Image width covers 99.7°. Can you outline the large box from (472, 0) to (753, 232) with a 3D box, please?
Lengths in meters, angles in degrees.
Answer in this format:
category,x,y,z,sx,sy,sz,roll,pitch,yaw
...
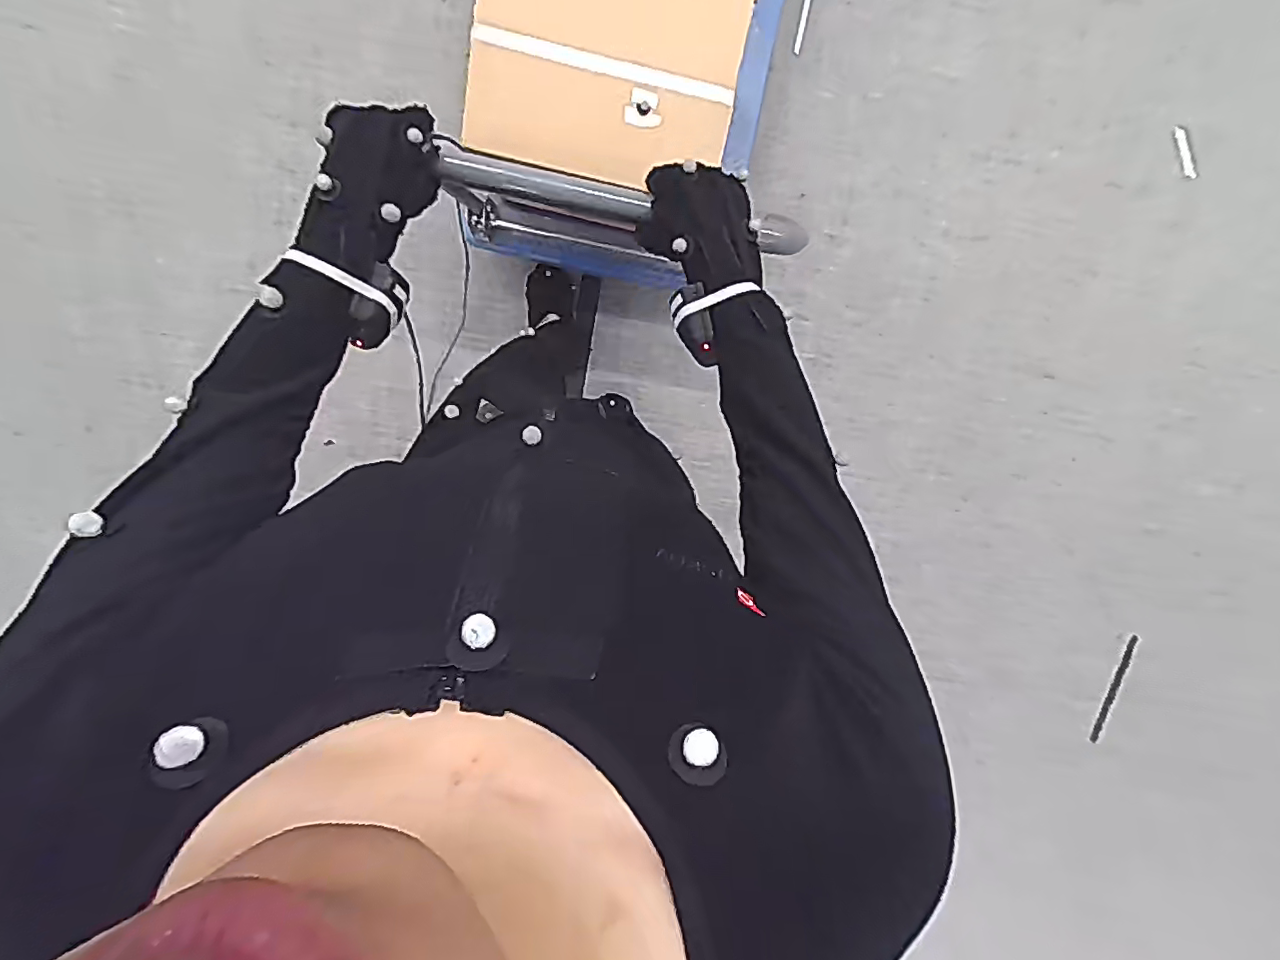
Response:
category,x,y,z,sx,sy,sz,roll,pitch,yaw
large box,-0.058,-0.679,0.981,0.408,0.320,0.320,10,104,-7
